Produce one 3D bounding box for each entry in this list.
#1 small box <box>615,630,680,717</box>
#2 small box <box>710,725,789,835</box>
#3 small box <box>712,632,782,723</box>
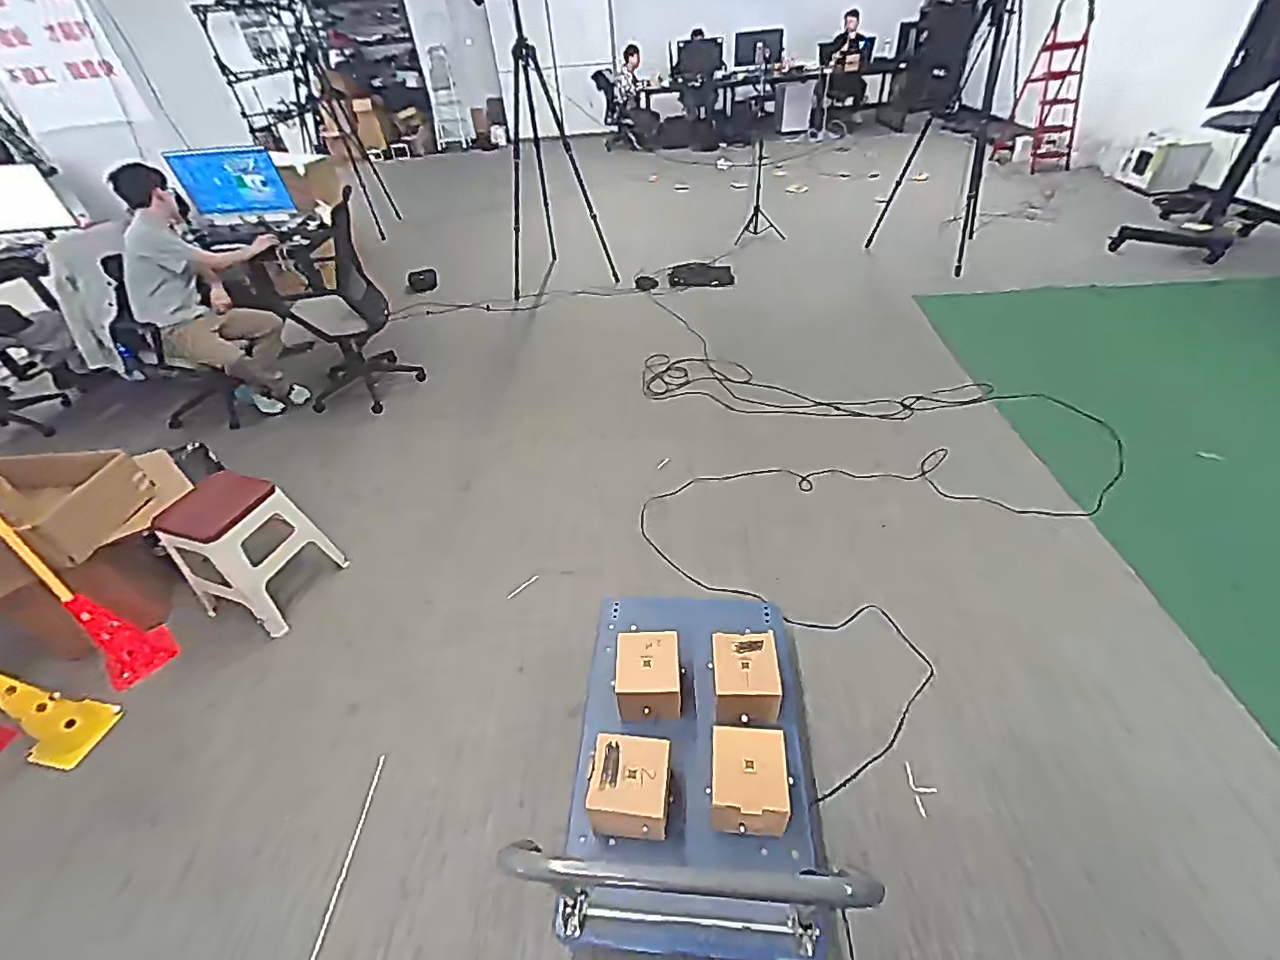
[{"bbox_3d":[0.025,0.531,1.475,0.168,0.176,0.179,-1,43,3],"label":"small box"},{"bbox_3d":[0.251,0.703,1.268,0.168,0.176,0.179,1,44,7],"label":"small box"},{"bbox_3d":[0.279,0.530,1.452,0.168,0.176,0.179,-1,44,5],"label":"small box"}]
